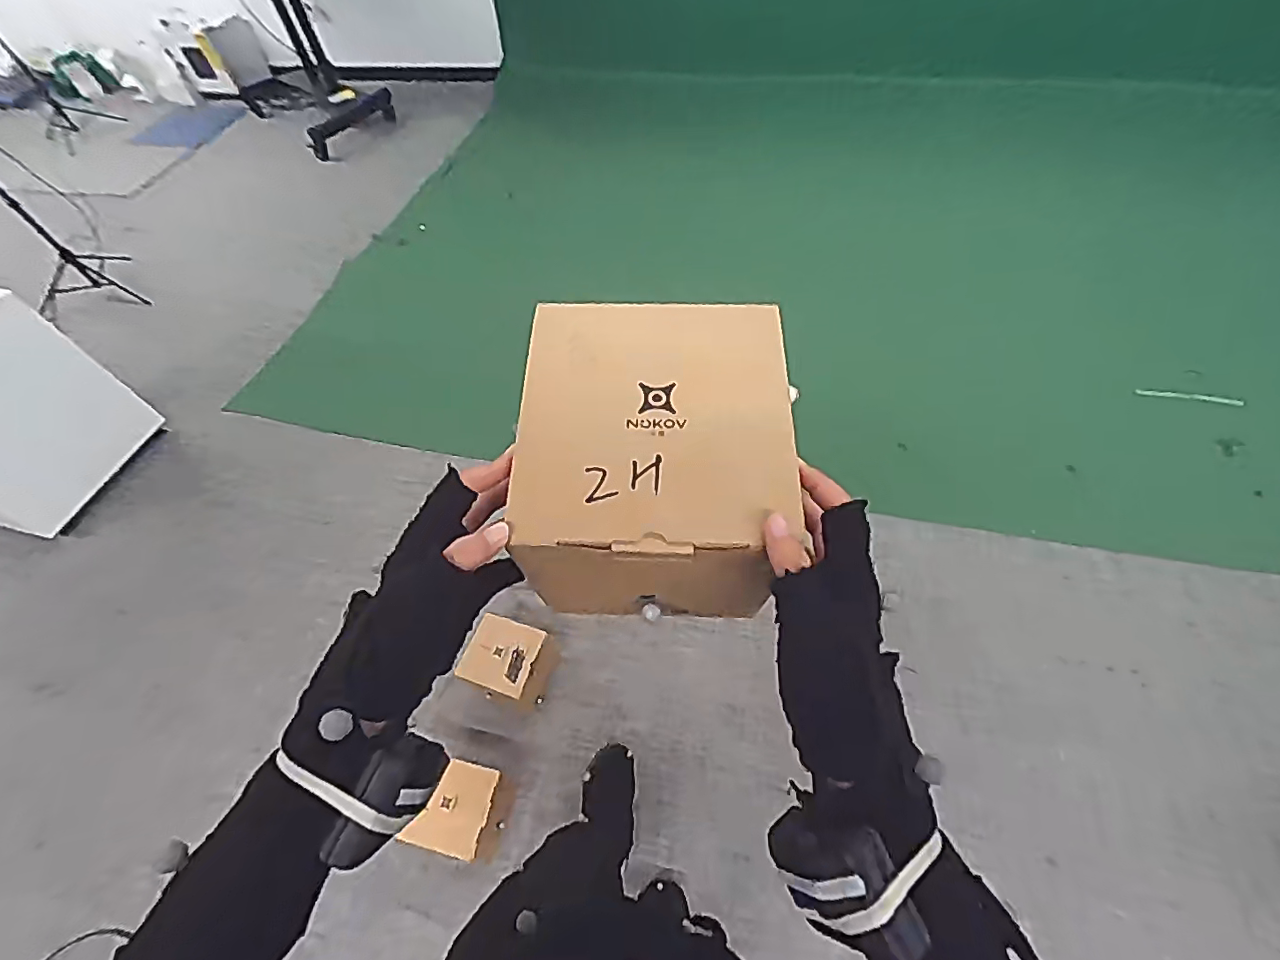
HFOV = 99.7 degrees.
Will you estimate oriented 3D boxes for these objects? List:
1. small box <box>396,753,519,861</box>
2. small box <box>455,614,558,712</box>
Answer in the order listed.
[{"bbox_3d":[-0.389,0.721,1.188,0.179,0.176,0.168,9,57,10],"label":"small box"},{"bbox_3d":[-0.324,0.465,1.359,0.179,0.176,0.168,13,57,14],"label":"small box"}]
